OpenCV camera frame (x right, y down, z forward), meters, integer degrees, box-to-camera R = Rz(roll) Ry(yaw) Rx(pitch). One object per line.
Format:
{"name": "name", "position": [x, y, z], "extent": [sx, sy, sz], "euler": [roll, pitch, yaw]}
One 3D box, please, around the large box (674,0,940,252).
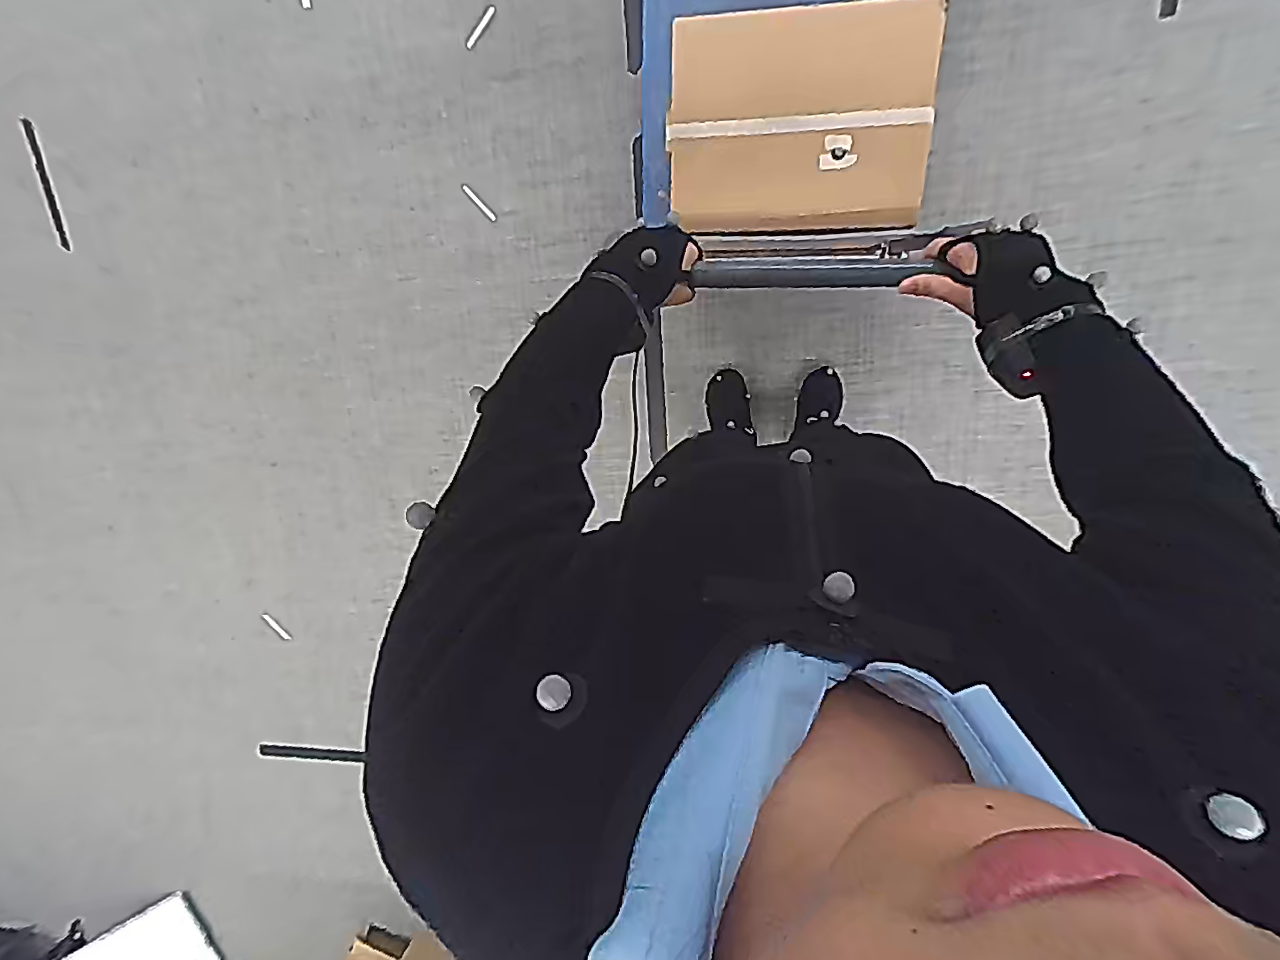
{"name": "large box", "position": [0.276, -0.619, 1.017], "extent": [0.408, 0.320, 0.320], "euler": [2, 108, 9]}
